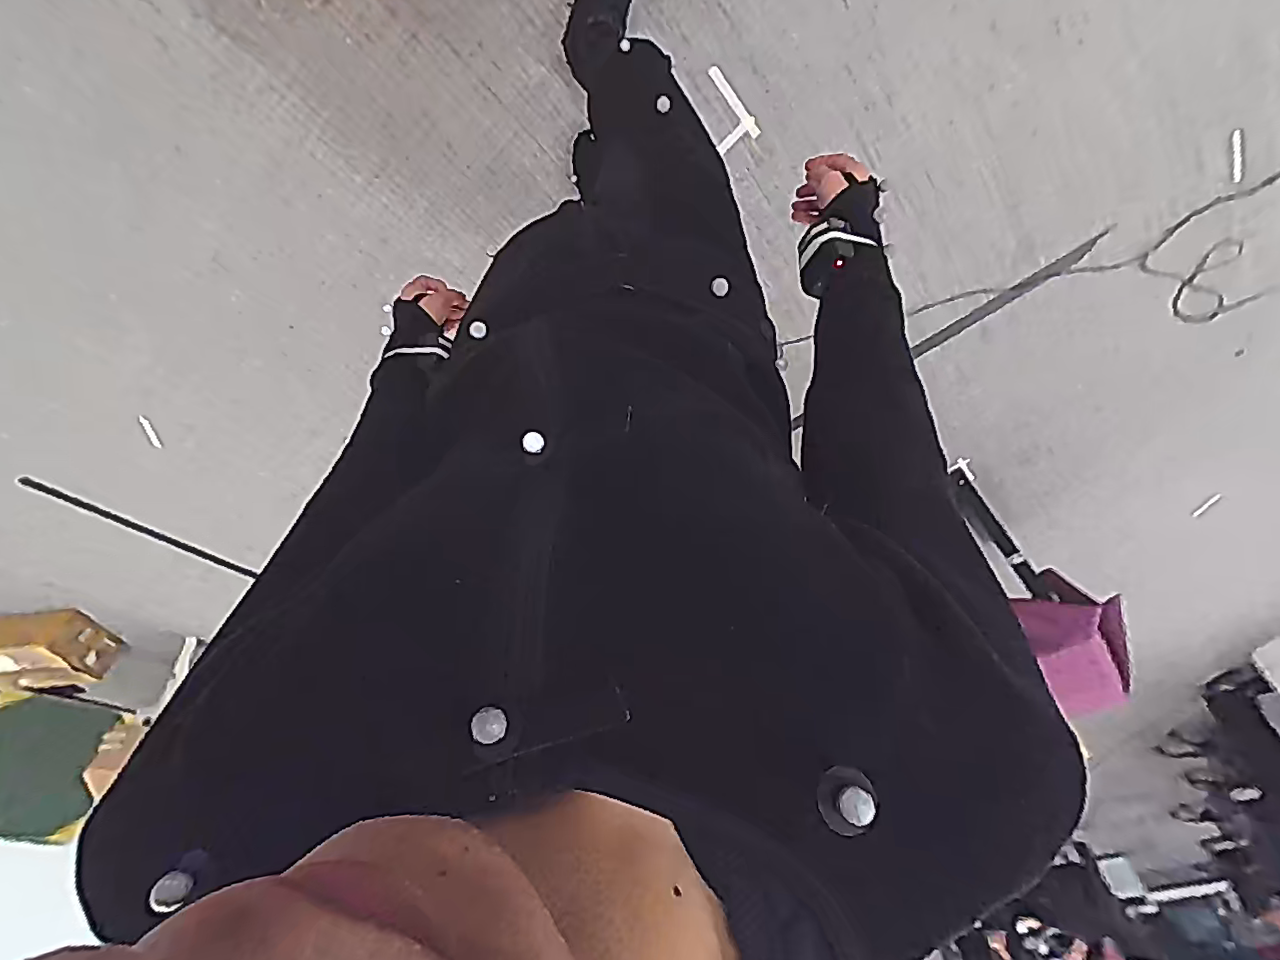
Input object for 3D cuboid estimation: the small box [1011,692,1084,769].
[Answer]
[{"bbox_3d":[1.283,0.813,1.759,0.179,0.176,0.168,-36,126,27],"label":"small box"}]
